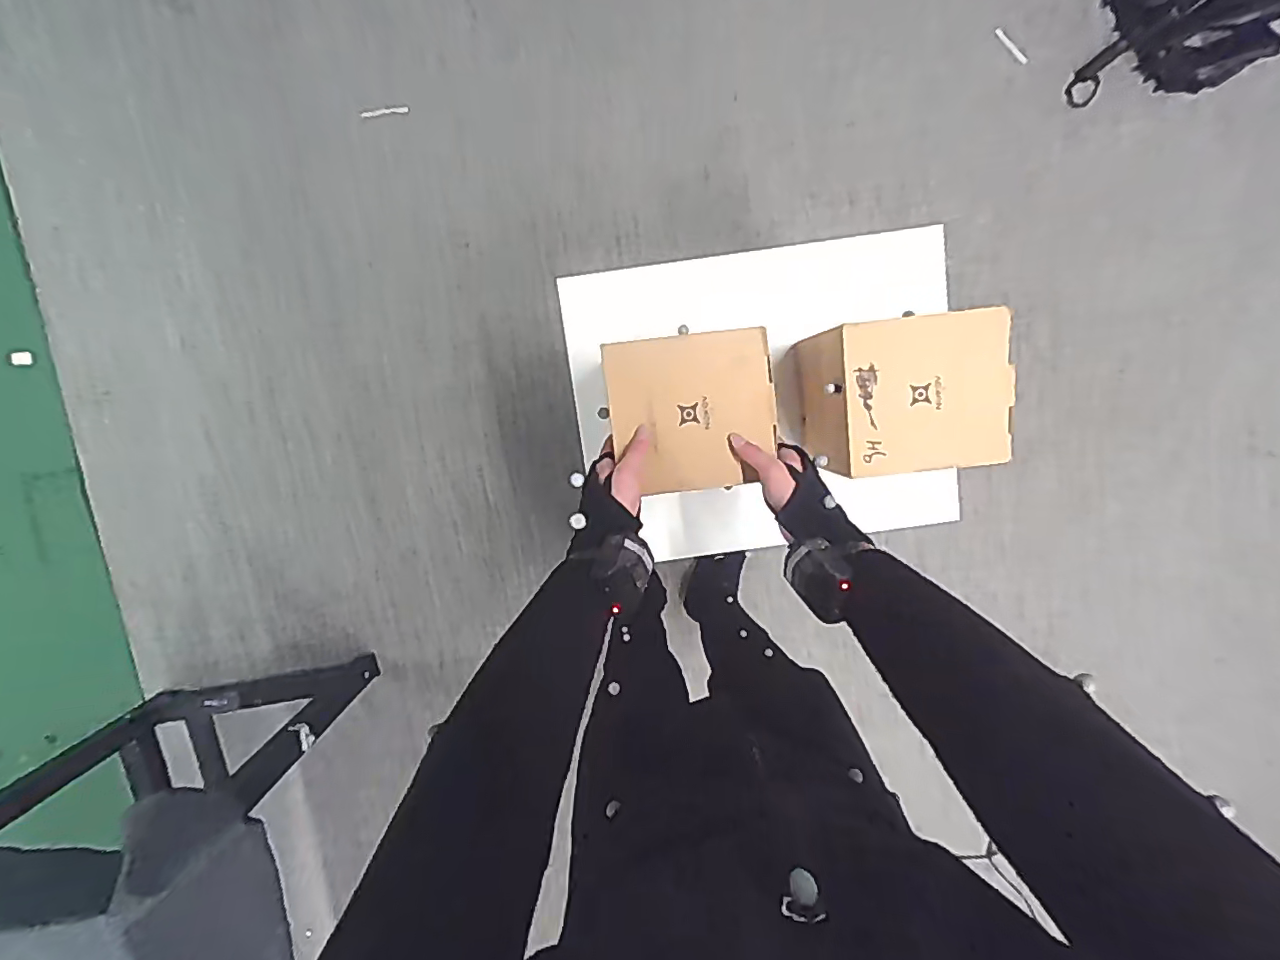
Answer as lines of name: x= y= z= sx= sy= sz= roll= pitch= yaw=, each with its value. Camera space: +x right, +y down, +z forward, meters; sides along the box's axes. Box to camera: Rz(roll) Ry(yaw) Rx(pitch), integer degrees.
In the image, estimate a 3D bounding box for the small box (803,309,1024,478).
small box: x=0.308 y=-0.101 z=0.639 sx=0.179 sy=0.176 sz=0.168 roll=-6 pitch=98 yaw=-1
